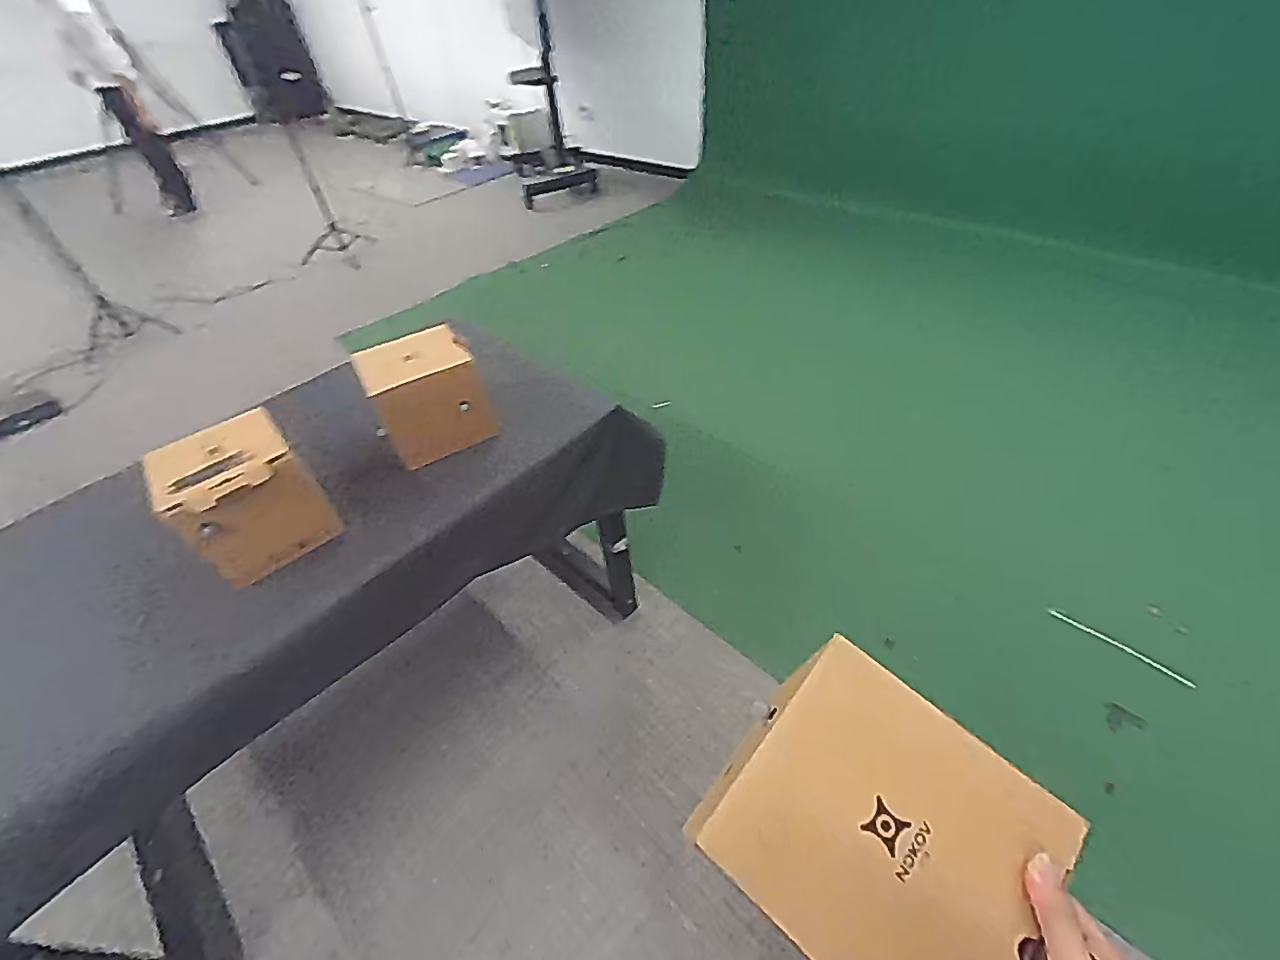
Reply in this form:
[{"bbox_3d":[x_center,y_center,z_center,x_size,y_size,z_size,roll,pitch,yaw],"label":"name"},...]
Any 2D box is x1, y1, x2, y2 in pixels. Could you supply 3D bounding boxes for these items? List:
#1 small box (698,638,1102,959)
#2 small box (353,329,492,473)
[{"bbox_3d":[0.159,0.252,0.390,0.179,0.176,0.168,38,66,20],"label":"small box"},{"bbox_3d":[-0.387,-0.145,0.989,0.179,0.176,0.168,-27,47,-19],"label":"small box"}]
